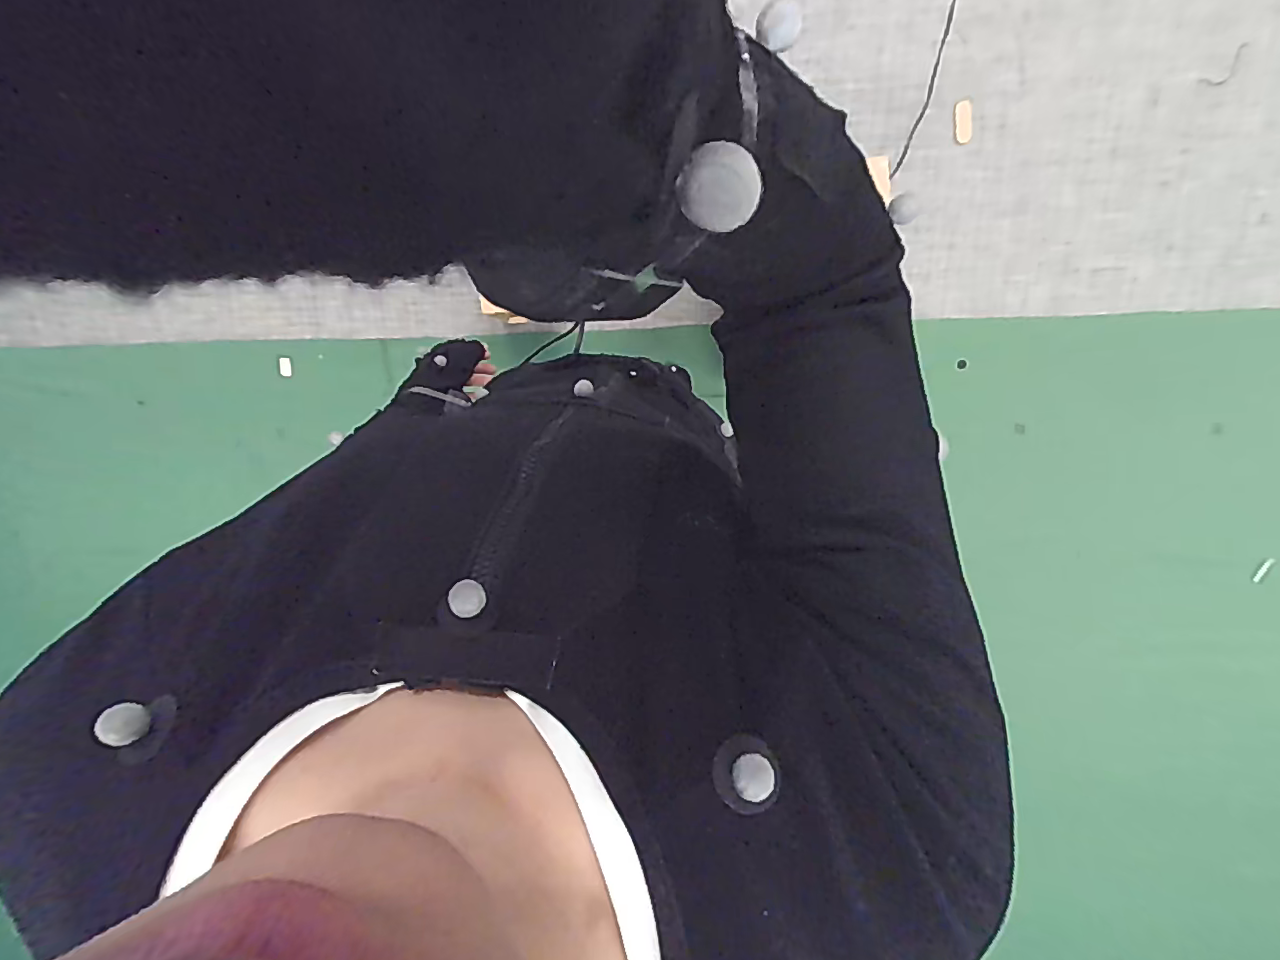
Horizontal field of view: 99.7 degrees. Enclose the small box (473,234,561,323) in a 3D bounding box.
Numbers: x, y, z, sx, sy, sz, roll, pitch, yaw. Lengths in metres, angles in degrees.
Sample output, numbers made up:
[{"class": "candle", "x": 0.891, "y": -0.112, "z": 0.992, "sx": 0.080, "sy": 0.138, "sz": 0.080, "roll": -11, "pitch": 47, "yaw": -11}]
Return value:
[{"class": "small box", "x": -0.291, "y": -0.481, "z": 1.311, "sx": 0.168, "sy": 0.176, "sz": 0.179, "roll": -3, "pitch": 103, "yaw": 3}]
